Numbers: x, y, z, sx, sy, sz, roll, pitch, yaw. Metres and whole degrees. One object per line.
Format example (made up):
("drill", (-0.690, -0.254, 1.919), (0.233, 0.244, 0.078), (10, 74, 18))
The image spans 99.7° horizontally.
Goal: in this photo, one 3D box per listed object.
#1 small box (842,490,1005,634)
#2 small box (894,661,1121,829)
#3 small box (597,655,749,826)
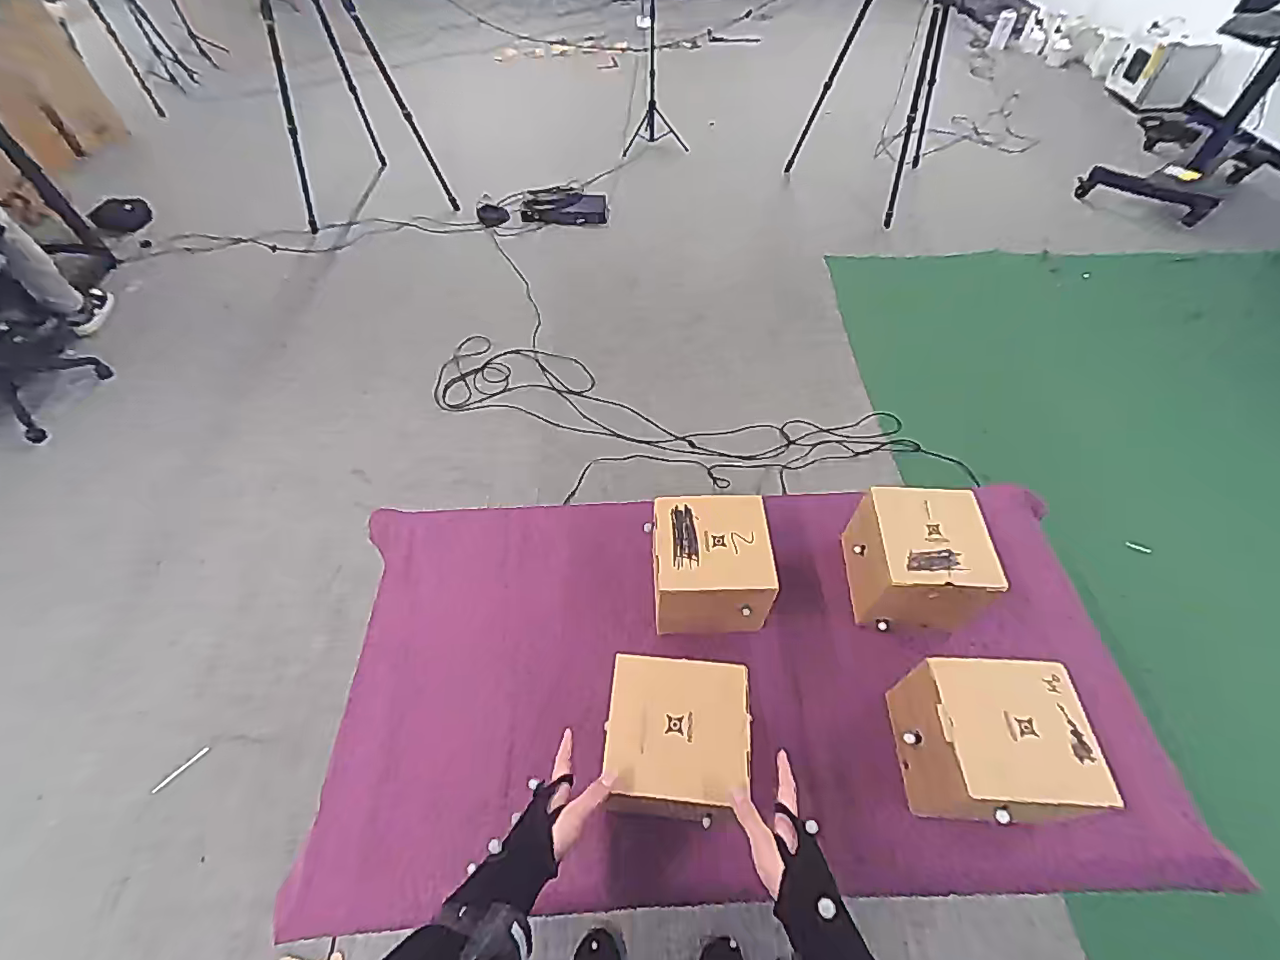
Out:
("small box", (0.443, 0.136, 0.879), (0.168, 0.176, 0.179), (3, 52, 3))
("small box", (0.456, 0.352, 0.714), (0.179, 0.176, 0.168), (2, 52, 3))
("small box", (0.046, 0.352, 0.723), (0.179, 0.176, 0.168), (4, 52, 5))
